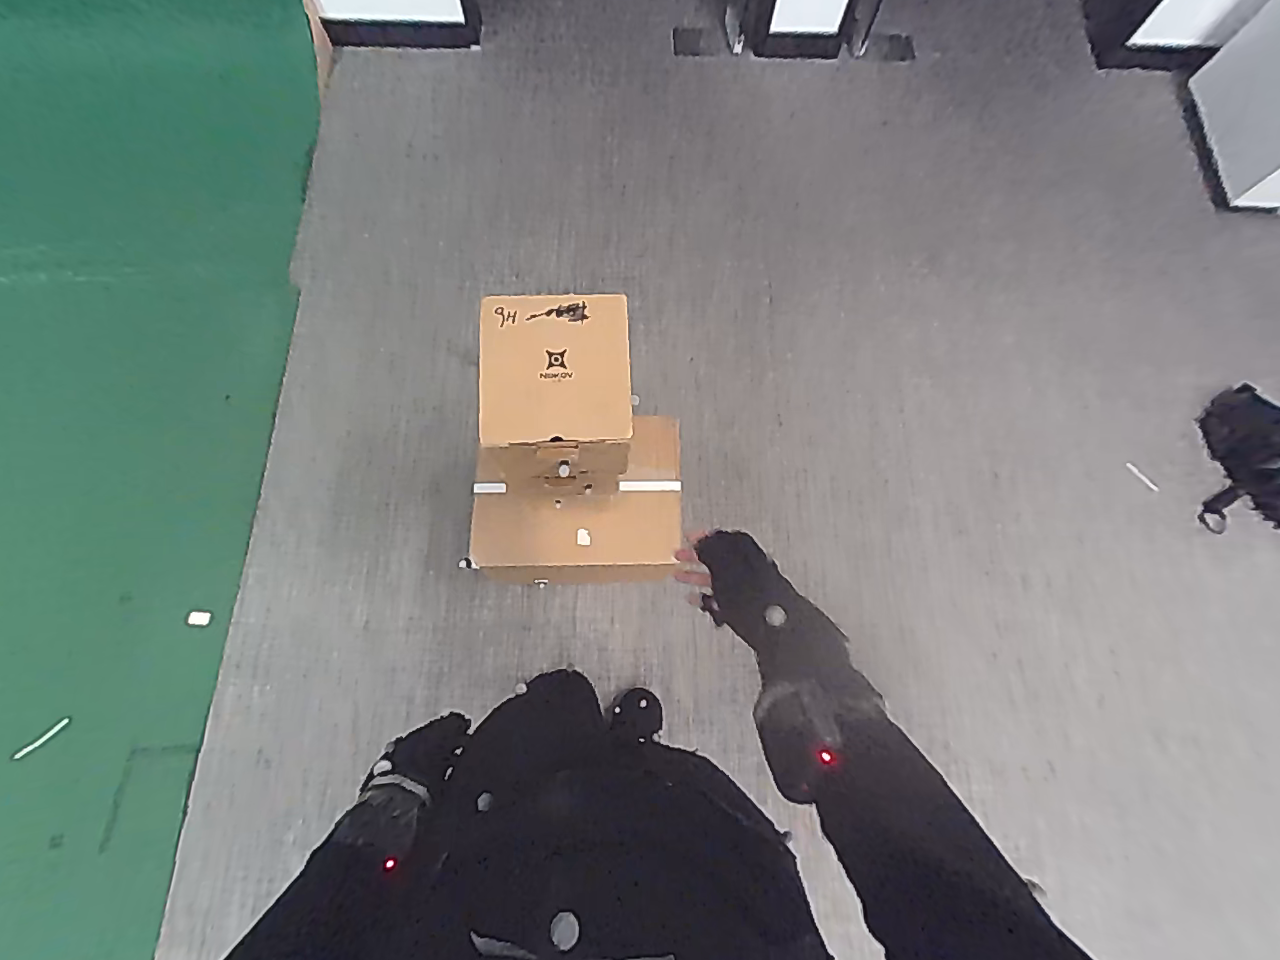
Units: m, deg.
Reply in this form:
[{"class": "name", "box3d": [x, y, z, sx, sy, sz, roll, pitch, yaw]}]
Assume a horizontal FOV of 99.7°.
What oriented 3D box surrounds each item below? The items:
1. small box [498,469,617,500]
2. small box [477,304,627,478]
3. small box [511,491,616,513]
[{"class": "small box", "box3d": [-0.120, -0.066, 0.837, 0.168, 0.176, 0.179, -3, 78, -4]}, {"class": "small box", "box3d": [-0.101, -0.099, 0.678, 0.168, 0.176, 0.179, -3, 80, -3]}, {"class": "small box", "box3d": [-0.133, -0.032, 0.995, 0.179, 0.176, 0.168, -1, 80, -2]}]
